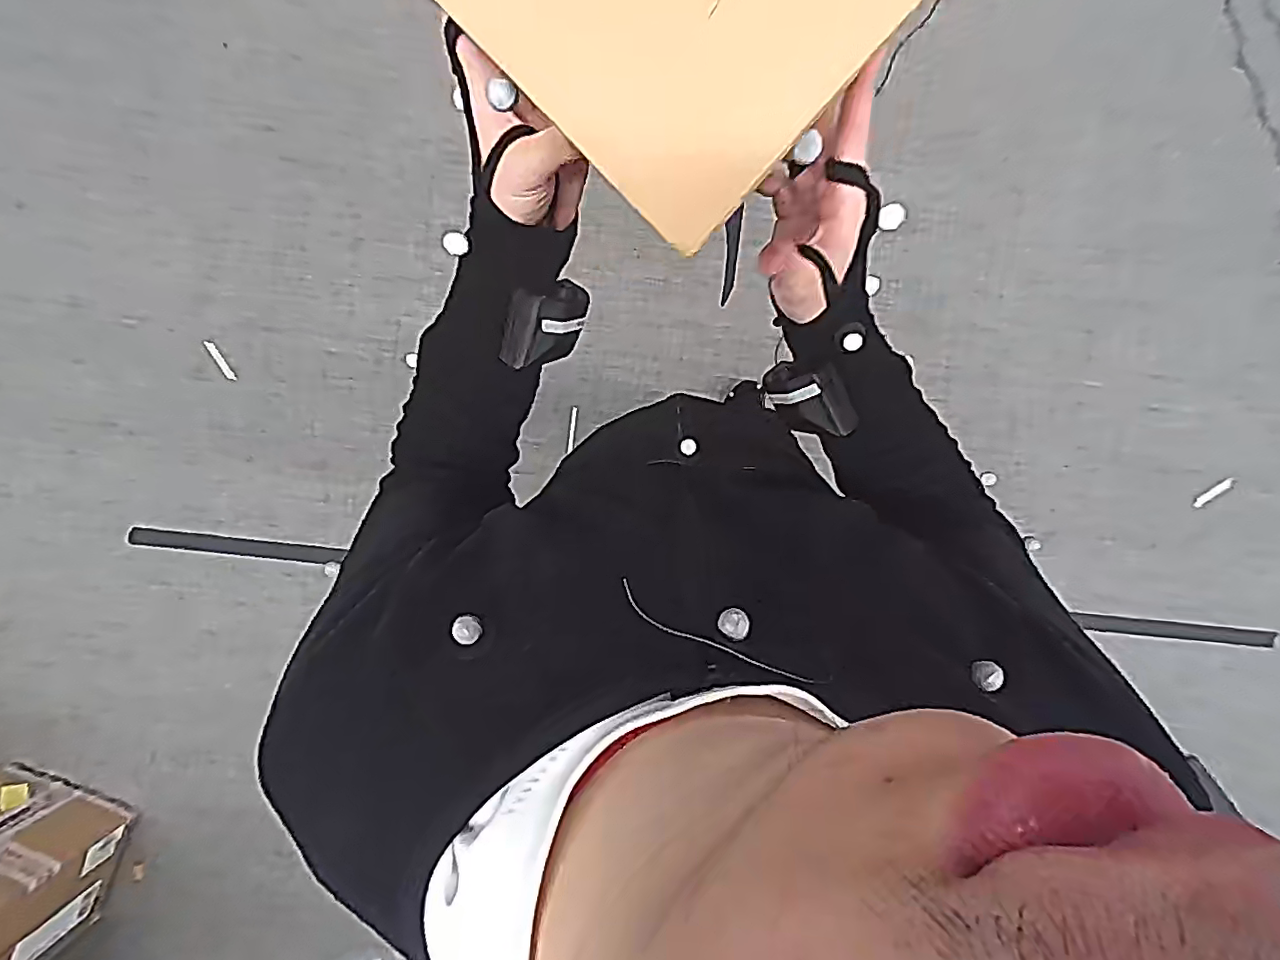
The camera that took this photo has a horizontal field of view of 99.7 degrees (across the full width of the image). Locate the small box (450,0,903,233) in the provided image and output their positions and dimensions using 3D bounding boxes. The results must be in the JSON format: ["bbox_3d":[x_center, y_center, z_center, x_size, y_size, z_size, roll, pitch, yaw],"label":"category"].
[{"bbox_3d":[0.016,-0.228,0.217,0.179,0.176,0.168,40,116,-13],"label":"small box"}]
